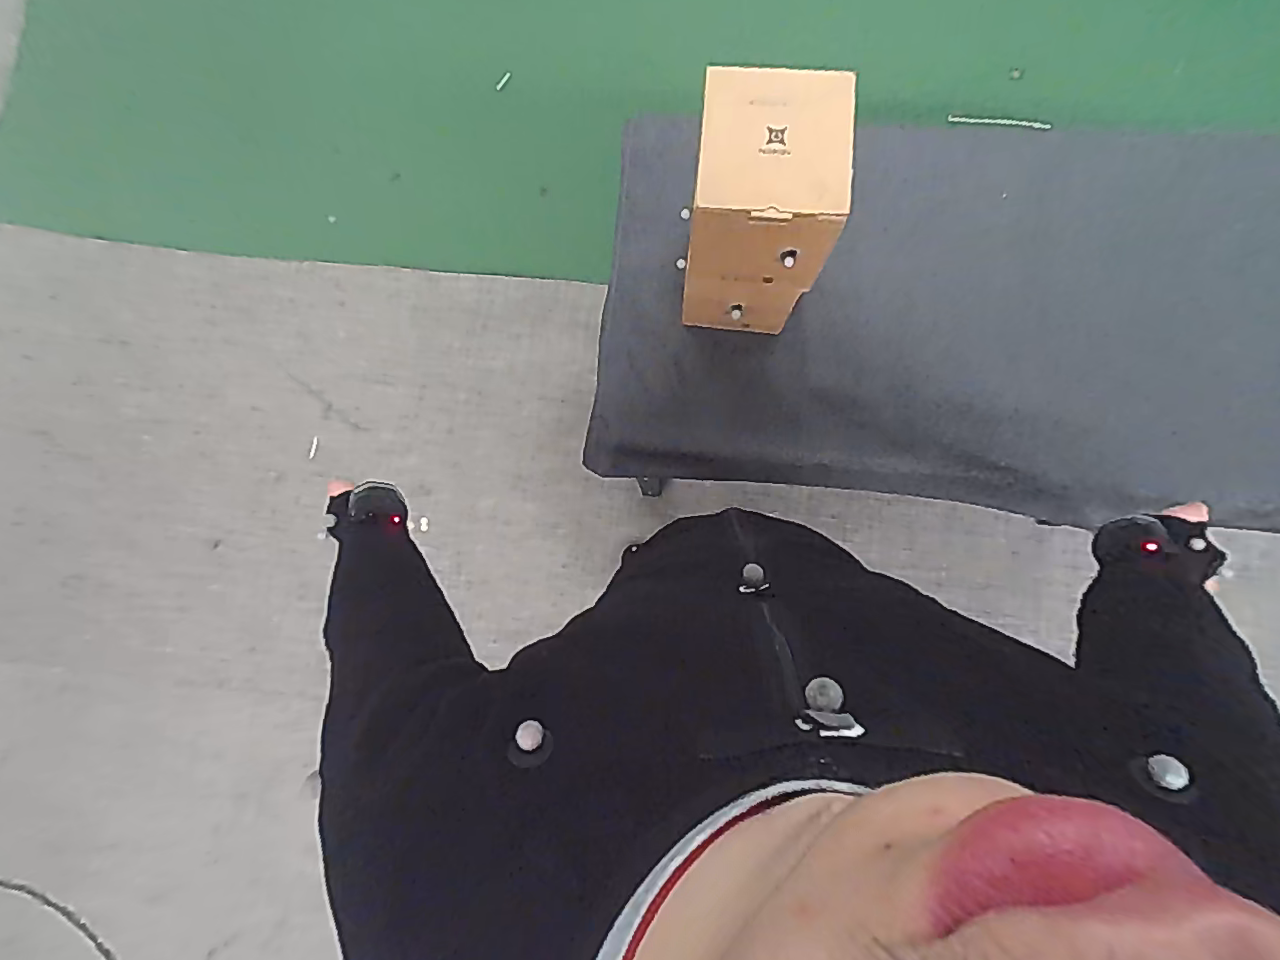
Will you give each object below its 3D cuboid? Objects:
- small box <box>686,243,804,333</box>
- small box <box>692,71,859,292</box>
[{"bbox_3d":[0.163,-0.342,0.829,0.168,0.176,0.179,7,82,3],"label":"small box"},{"bbox_3d":[0.155,-0.352,0.666,0.168,0.176,0.179,5,81,2],"label":"small box"}]
